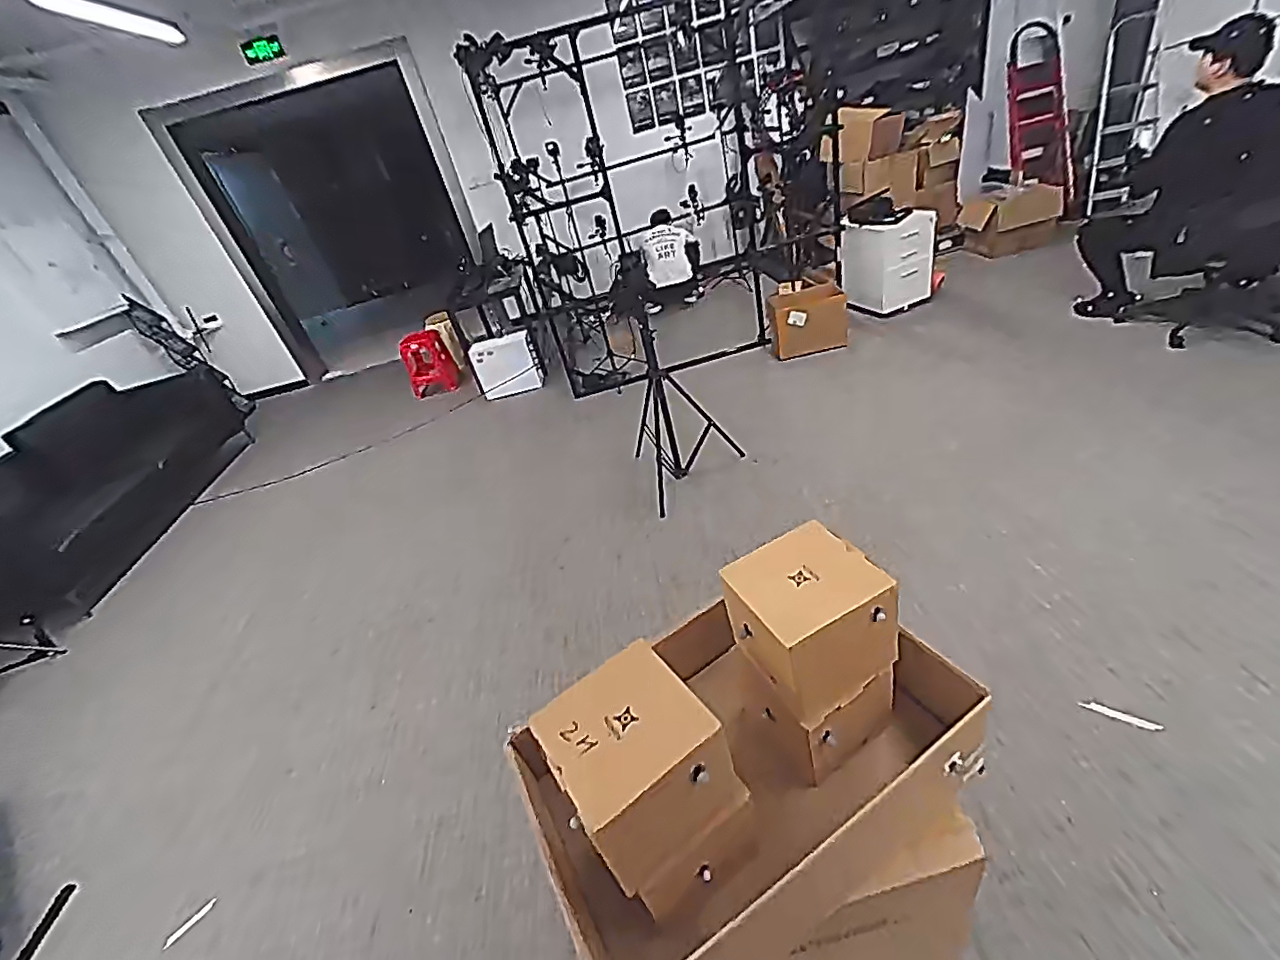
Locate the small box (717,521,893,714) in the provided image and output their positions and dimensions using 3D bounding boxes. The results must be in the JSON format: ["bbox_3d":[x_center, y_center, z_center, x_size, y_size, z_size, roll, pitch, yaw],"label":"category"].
[{"bbox_3d":[0.238,0.196,0.777,0.179,0.176,0.168,-26,35,-13],"label":"small box"}]

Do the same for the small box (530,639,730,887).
[{"bbox_3d":[-0.004,0.343,0.668,0.179,0.176,0.168,-31,37,-20],"label":"small box"}]
